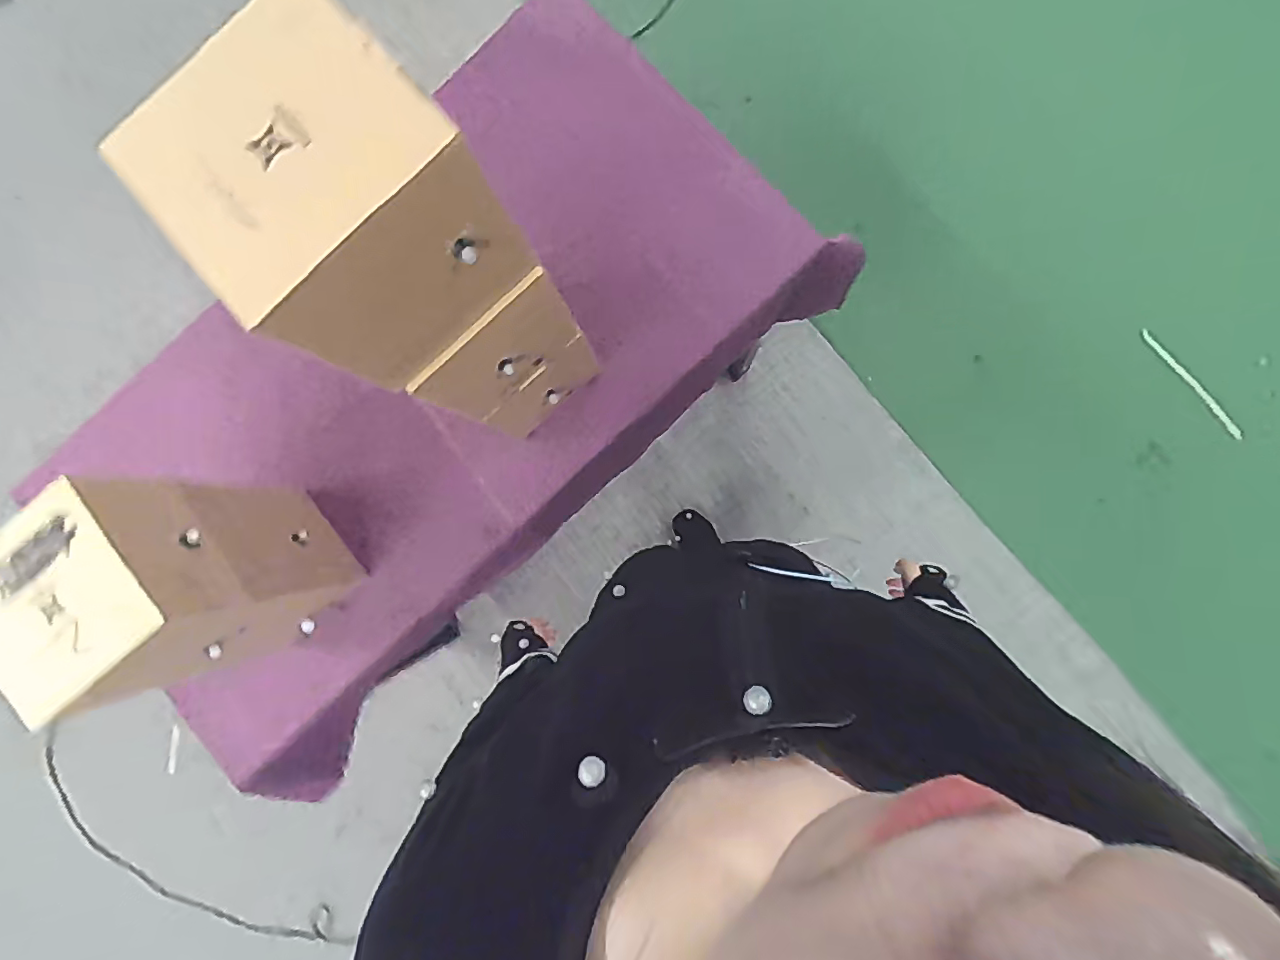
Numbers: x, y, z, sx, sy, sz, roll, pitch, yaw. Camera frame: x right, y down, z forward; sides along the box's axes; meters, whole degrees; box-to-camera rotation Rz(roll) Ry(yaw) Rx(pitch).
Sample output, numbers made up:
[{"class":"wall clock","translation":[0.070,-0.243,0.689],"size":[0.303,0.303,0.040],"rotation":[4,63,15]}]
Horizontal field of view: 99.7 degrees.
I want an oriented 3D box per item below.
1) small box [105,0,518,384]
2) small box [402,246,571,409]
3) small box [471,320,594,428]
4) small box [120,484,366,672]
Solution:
[{"class":"small box","translation":[-0.214,-0.201,0.410],"size":[0.179,0.176,0.168],"rotation":[-42,84,2]},{"class":"small box","translation":[-0.196,-0.191,0.572],"size":[0.168,0.176,0.179],"rotation":[-42,85,1]},{"class":"small box","translation":[-0.182,-0.186,0.737],"size":[0.168,0.176,0.179],"rotation":[-41,86,1]},{"class":"small box","translation":[-0.529,0.126,0.746],"size":[0.168,0.176,0.179],"rotation":[-40,86,1]}]
